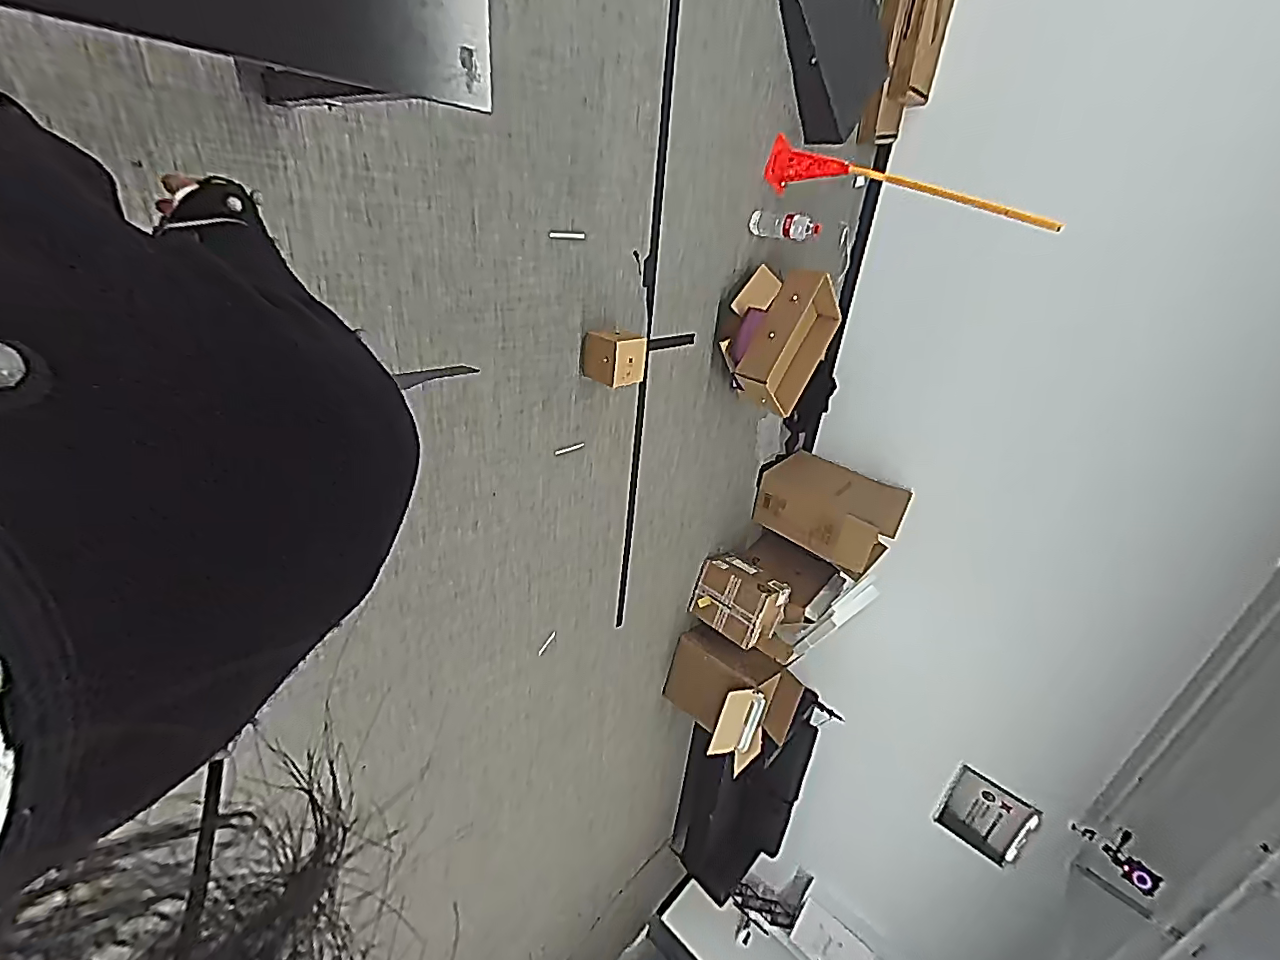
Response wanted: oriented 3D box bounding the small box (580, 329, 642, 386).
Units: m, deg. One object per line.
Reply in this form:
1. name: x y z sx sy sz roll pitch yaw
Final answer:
1. small box: -0.116 -0.476 2.074 0.168 0.176 0.179 -22 129 -43
